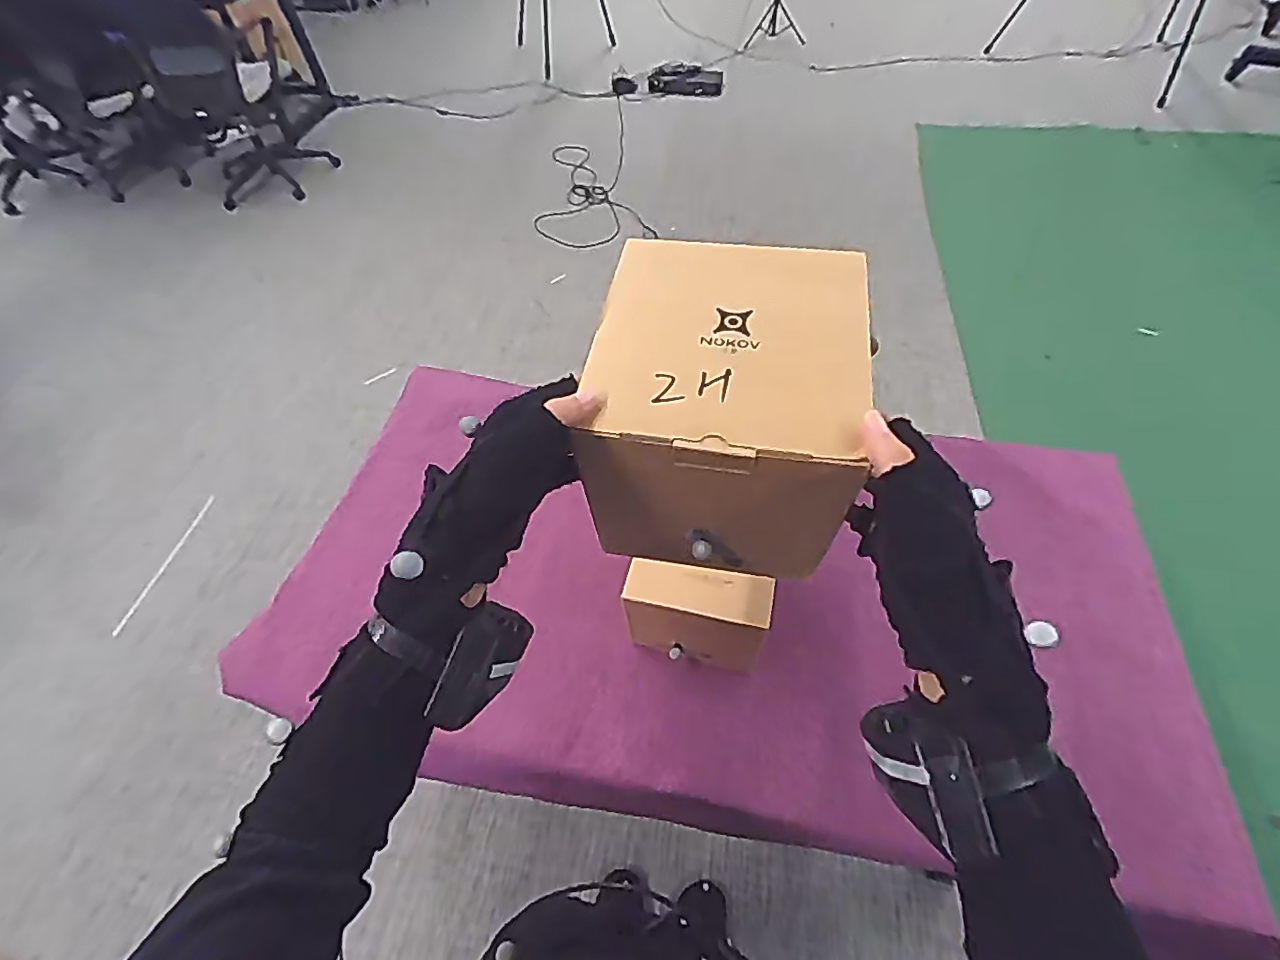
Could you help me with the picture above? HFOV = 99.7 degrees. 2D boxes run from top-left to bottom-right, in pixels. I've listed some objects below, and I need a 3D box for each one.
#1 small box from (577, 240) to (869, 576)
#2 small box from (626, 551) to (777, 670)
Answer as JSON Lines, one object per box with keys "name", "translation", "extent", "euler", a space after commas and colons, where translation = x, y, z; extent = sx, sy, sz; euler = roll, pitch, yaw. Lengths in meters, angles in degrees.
{"name": "small box", "translation": [0.063, -0.049, 0.407], "extent": [0.168, 0.176, 0.179], "euler": [8, 59, 9]}
{"name": "small box", "translation": [0.087, 0.121, 0.704], "extent": [0.168, 0.176, 0.179], "euler": [11, 56, 12]}
